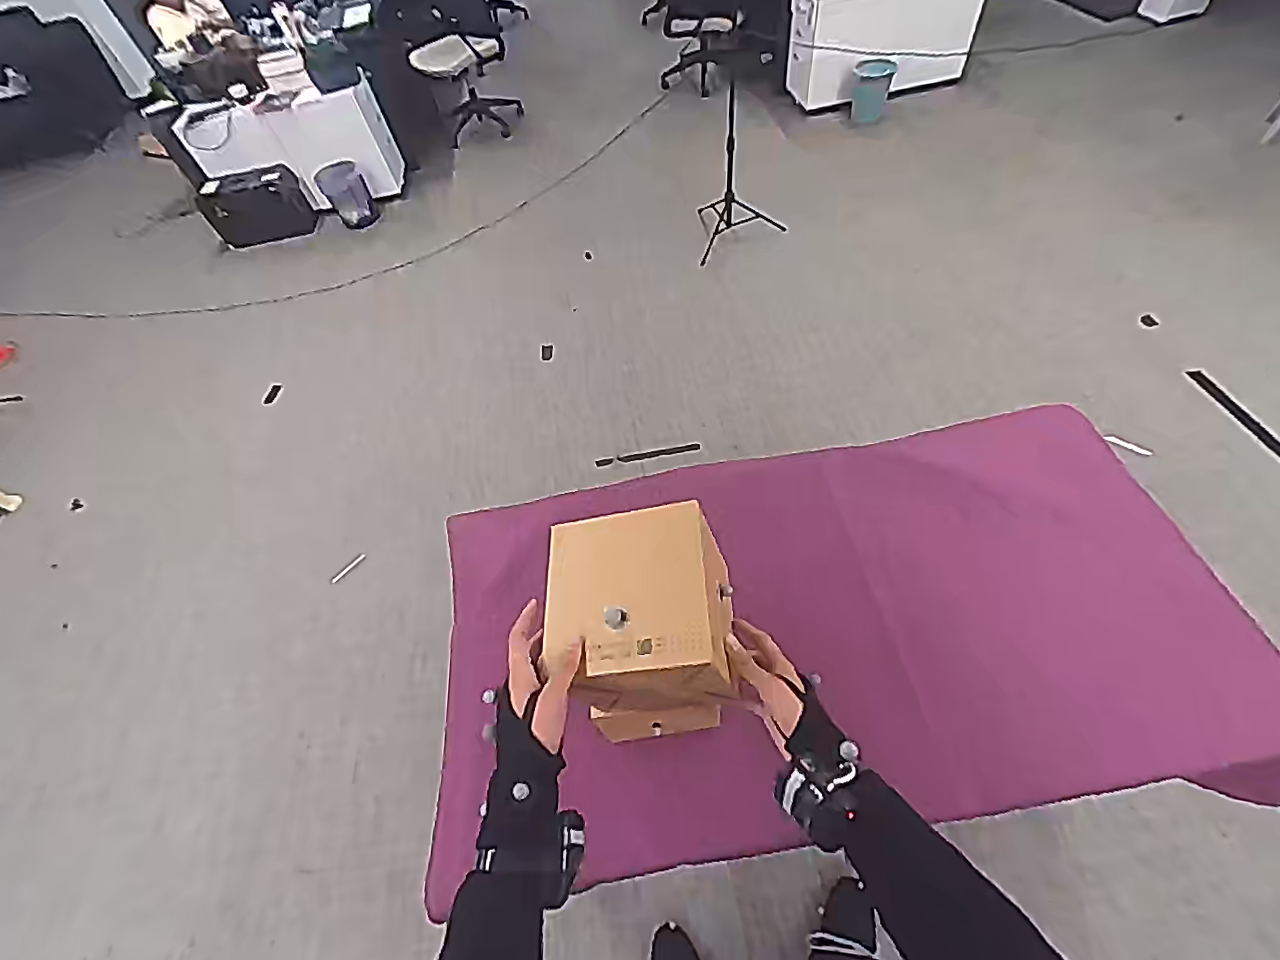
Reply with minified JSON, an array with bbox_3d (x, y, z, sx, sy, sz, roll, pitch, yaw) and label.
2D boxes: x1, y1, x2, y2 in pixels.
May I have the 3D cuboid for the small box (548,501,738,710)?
[{"bbox_3d":[0.008,0.148,0.593,0.168,0.179,0.176,-12,56,14],"label":"small box"}]

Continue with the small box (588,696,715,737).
[{"bbox_3d":[0.016,0.266,0.793,0.168,0.176,0.179,-9,54,1],"label":"small box"}]
